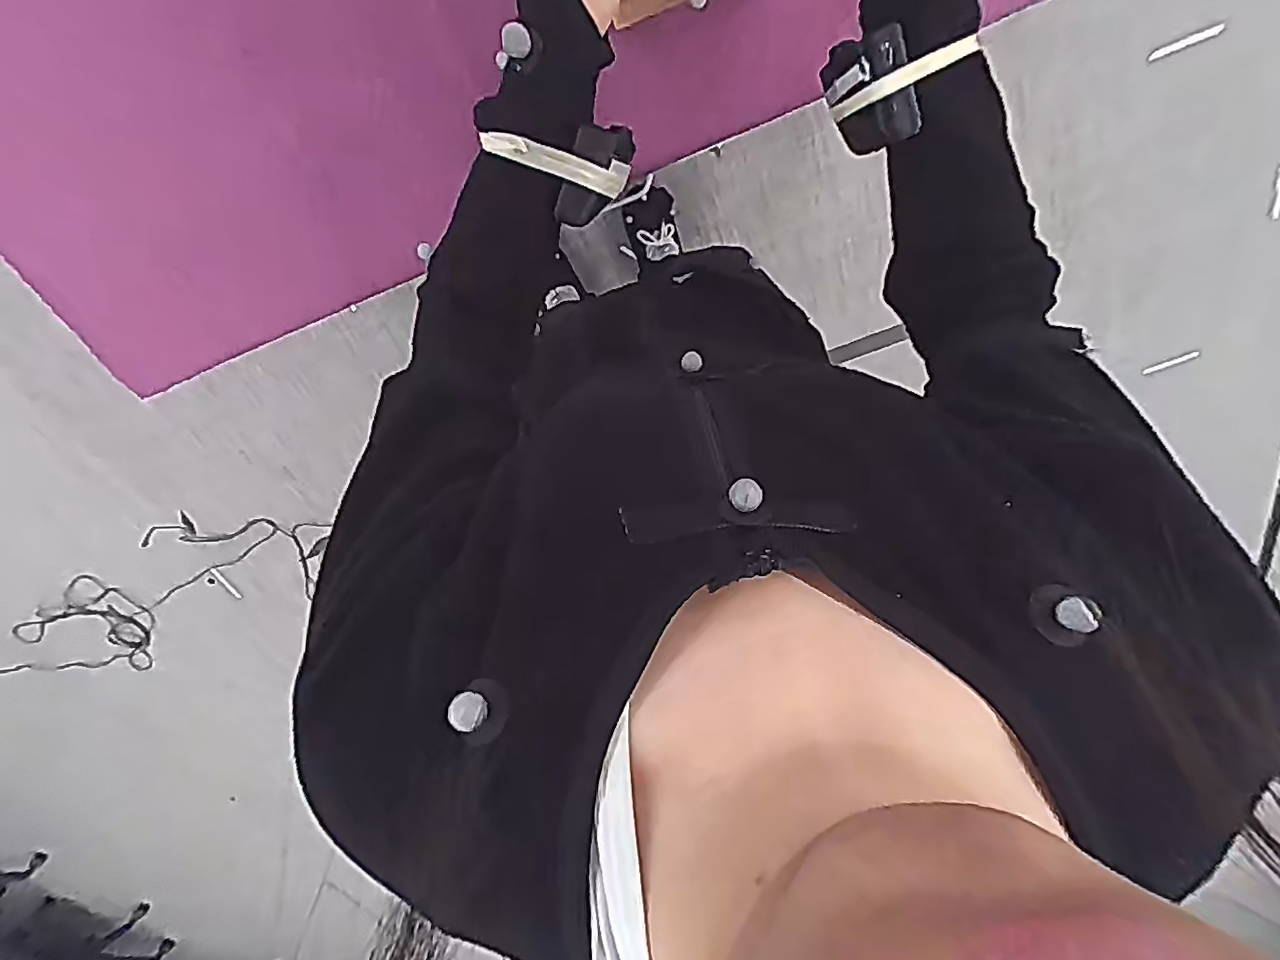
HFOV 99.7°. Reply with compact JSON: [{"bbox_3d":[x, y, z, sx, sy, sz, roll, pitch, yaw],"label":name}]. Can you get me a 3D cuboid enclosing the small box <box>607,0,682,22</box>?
[{"bbox_3d":[0.028,-0.511,0.424,0.168,0.176,0.179,-17,119,6],"label":"small box"}]
